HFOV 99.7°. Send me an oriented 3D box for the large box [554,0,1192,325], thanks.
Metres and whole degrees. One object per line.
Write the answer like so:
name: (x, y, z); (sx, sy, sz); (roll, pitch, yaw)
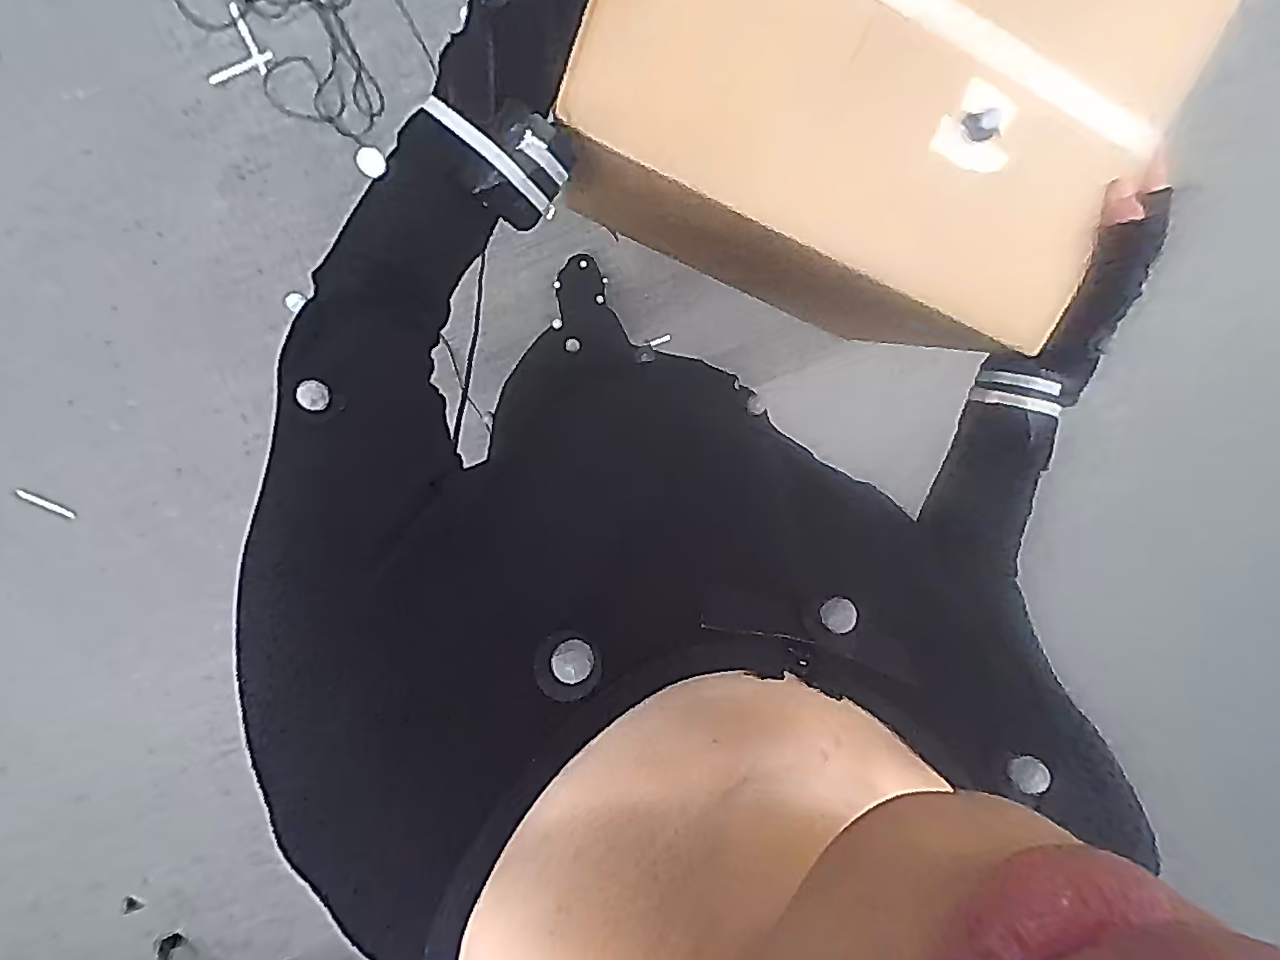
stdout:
large box: (0.156, -0.362, 0.504); (0.408, 0.320, 0.320); (19, 104, -12)
